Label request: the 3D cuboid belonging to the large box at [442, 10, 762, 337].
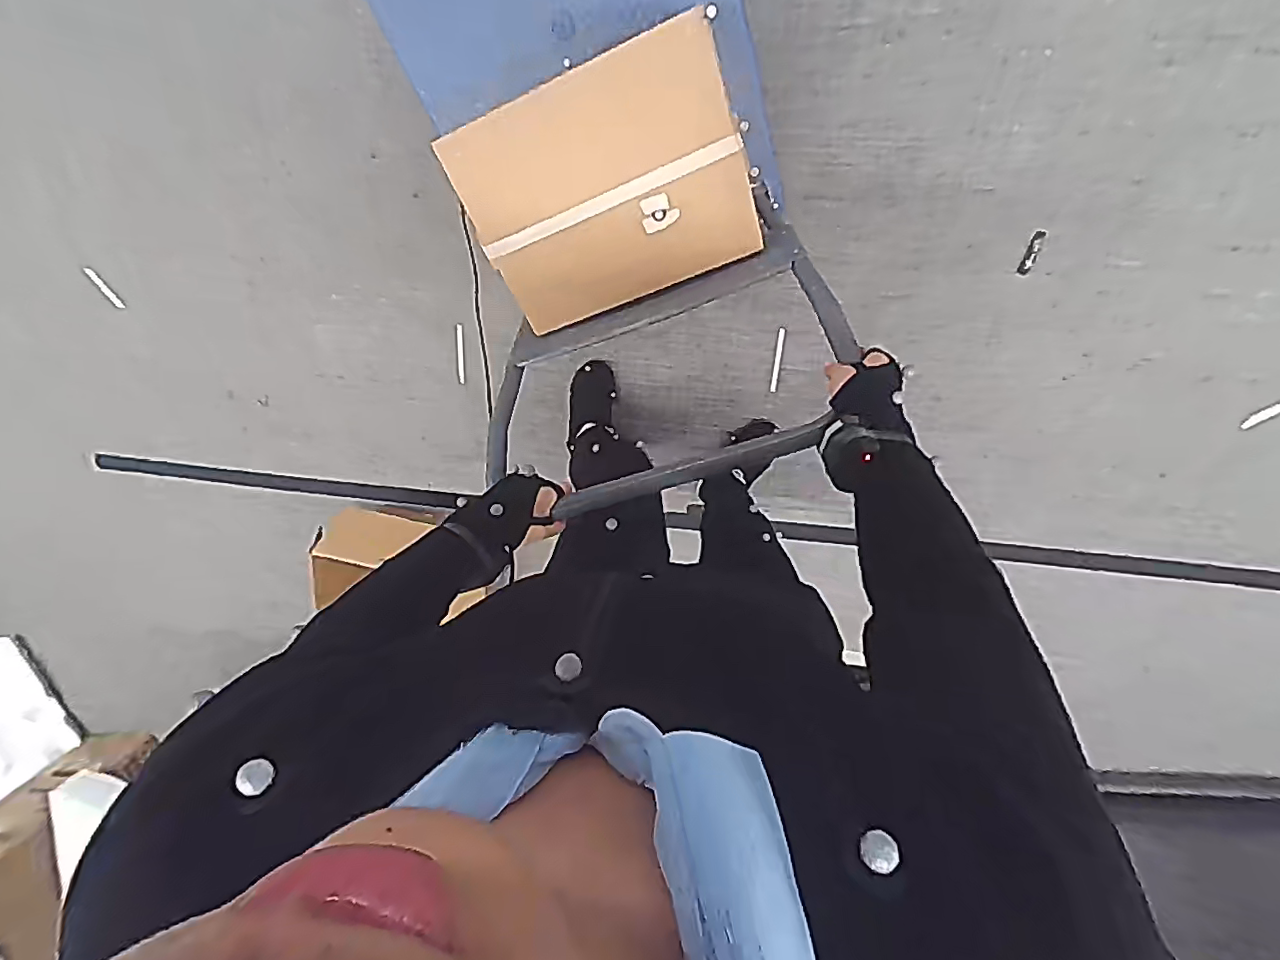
[{"bbox_3d":[-0.048,-0.509,0.924,0.408,0.320,0.320,-18,127,14],"label":"large box"}]
